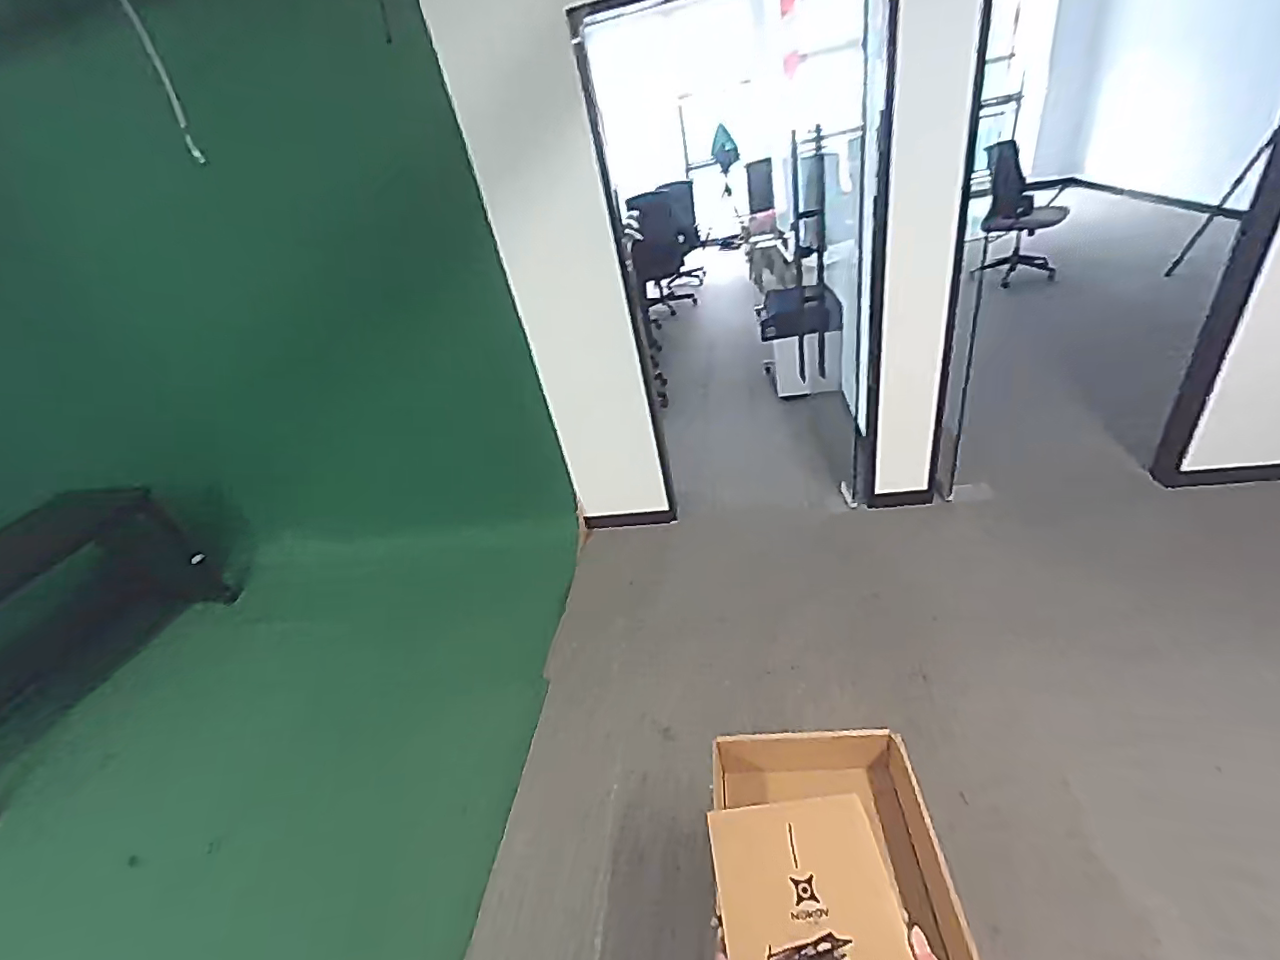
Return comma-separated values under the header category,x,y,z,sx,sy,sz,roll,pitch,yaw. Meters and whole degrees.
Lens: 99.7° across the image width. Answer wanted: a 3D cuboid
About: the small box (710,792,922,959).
category,x,y,z,sx,sy,sz,roll,pitch,yaw
small box,0.173,0.456,0.556,0.168,0.176,0.179,-10,39,2
